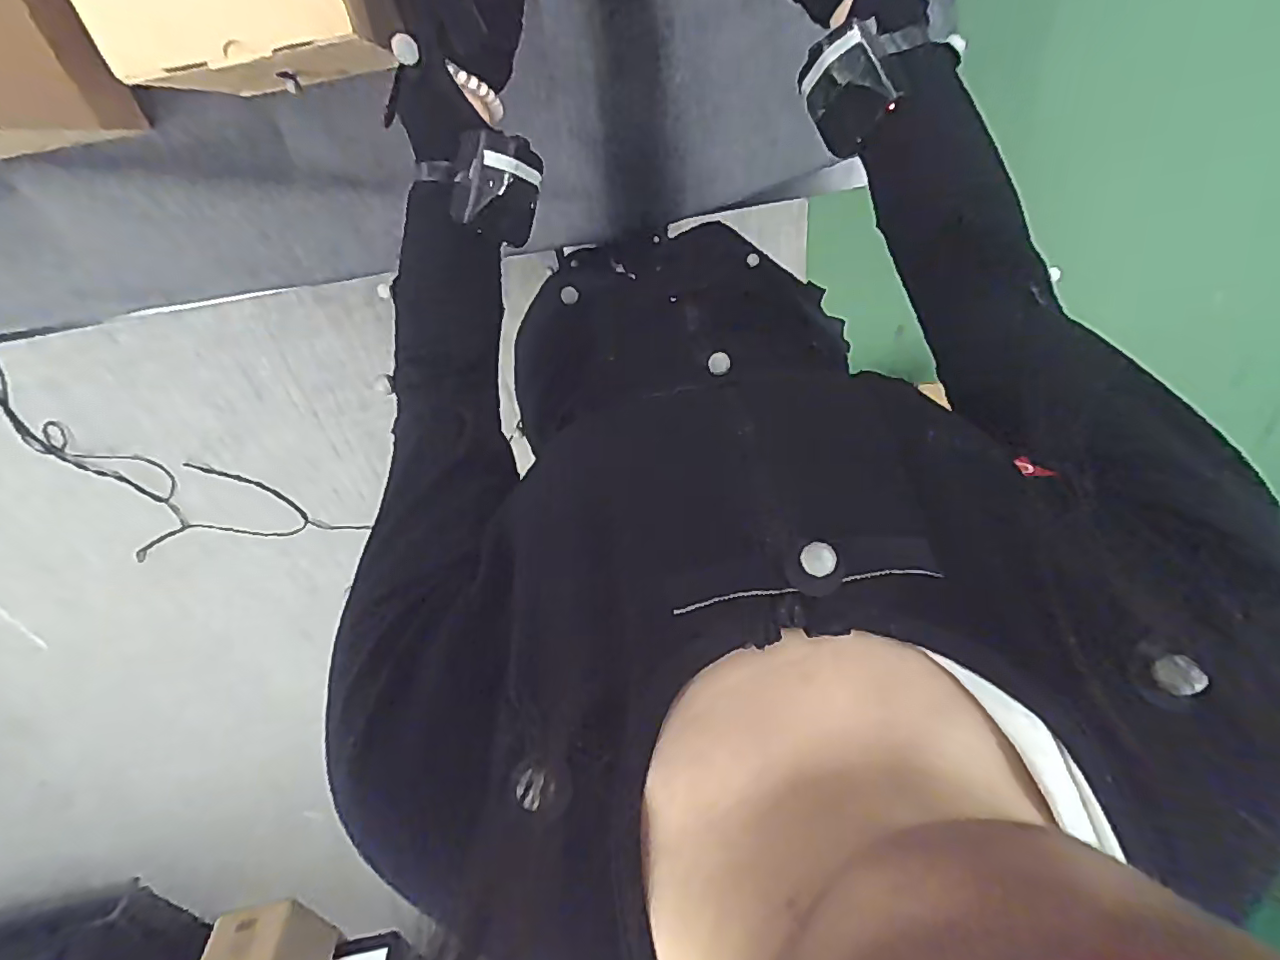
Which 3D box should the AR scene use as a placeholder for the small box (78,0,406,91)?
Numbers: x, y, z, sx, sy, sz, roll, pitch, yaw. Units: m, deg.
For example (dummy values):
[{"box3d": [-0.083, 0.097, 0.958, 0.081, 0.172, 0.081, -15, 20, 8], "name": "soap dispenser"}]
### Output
[{"box3d": [-0.293, -0.399, 0.384, 0.168, 0.176, 0.179, -12, 125, -1], "name": "small box"}]
